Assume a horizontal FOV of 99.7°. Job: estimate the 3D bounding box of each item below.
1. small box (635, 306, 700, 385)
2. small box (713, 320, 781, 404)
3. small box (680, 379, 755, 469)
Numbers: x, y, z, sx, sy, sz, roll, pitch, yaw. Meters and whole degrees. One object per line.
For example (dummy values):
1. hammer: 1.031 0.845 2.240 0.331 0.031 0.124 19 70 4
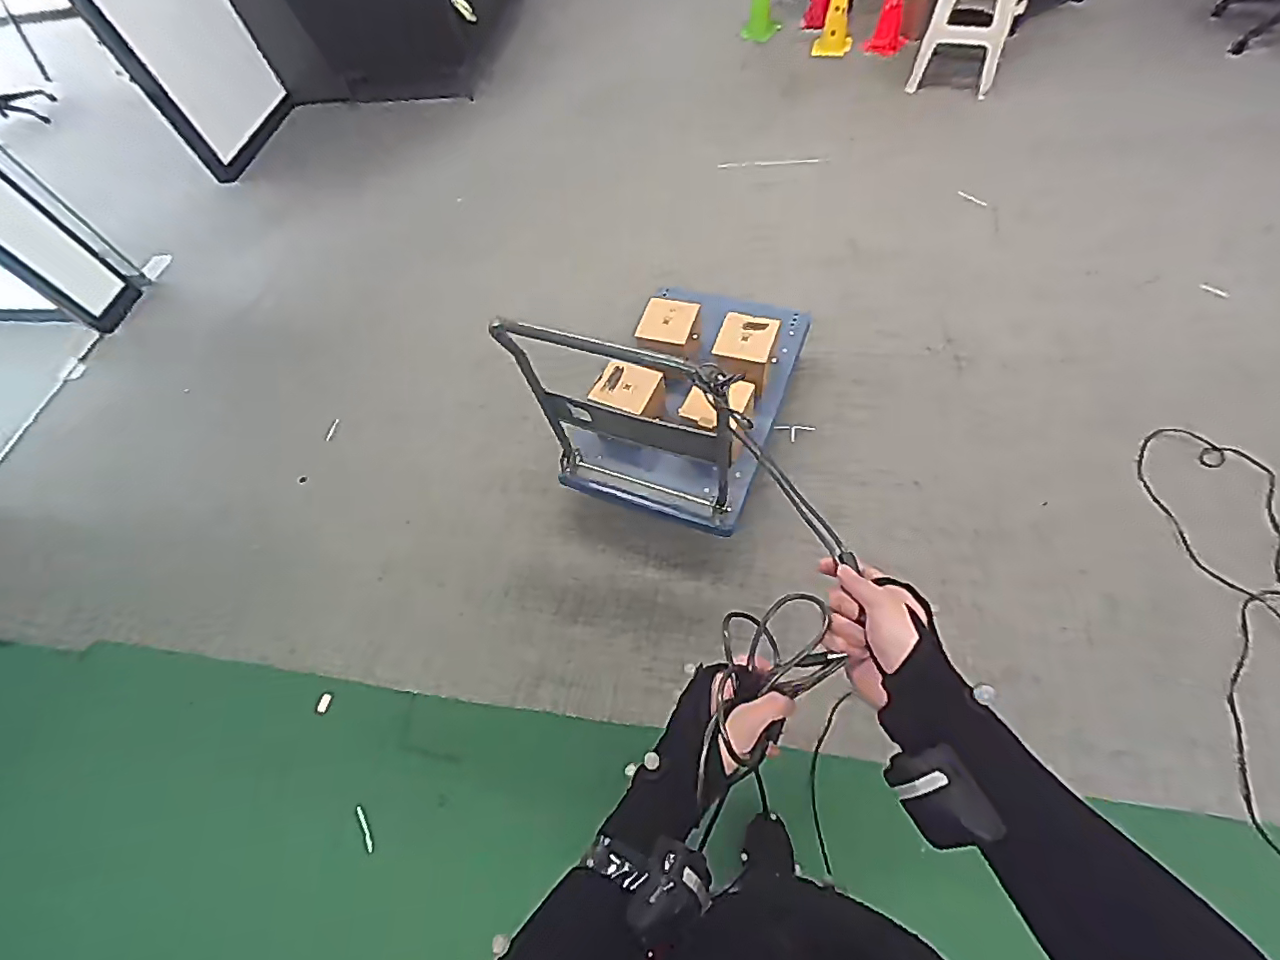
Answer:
1. small box: 0.097 -0.436 1.766 0.168 0.176 0.179 14 63 16
2. small box: 0.330 -0.367 1.688 0.168 0.176 0.179 15 65 18
3. small box: 0.229 -0.163 1.589 0.168 0.176 0.179 19 66 19
